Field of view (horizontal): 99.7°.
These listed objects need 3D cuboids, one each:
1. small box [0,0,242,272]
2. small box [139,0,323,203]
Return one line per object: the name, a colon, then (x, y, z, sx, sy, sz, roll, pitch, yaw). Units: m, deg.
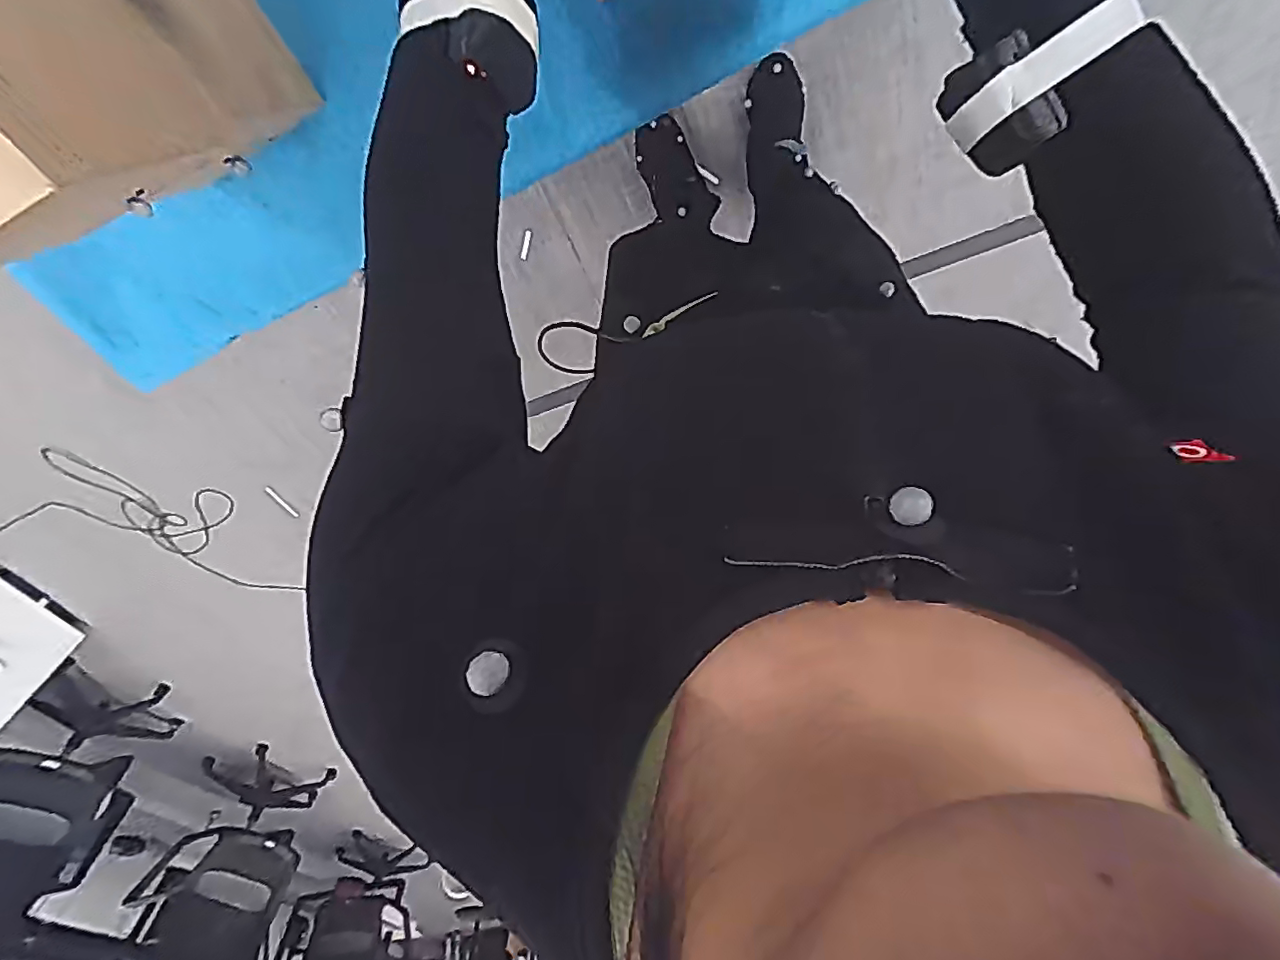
small box: (-0.400, -0.229, 0.310, 0.179, 0.176, 0.168, -18, 127, 14)
small box: (-0.407, -0.342, 0.432, 0.168, 0.176, 0.179, -16, 129, 15)
